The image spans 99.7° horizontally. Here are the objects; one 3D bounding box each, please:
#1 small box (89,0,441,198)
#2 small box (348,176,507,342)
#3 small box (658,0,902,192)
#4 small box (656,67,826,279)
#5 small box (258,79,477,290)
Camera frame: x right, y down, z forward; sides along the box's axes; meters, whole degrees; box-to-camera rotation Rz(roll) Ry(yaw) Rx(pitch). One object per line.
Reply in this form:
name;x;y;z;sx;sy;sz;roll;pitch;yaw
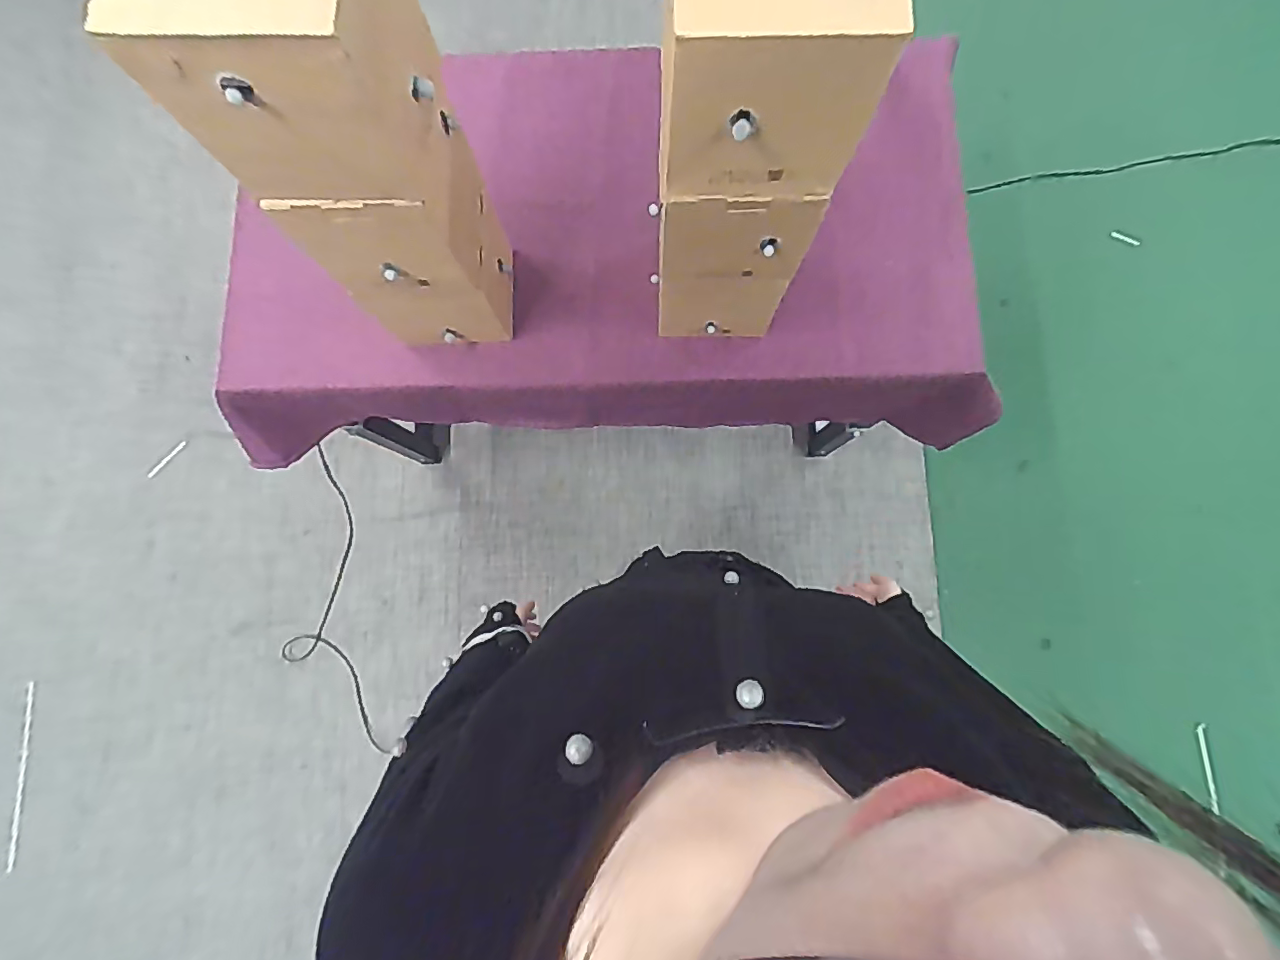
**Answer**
small box;-0.294;-0.370;0.466;0.179;0.176;0.168;1;81;0
small box;-0.296;-0.313;0.791;0.179;0.176;0.168;-3;81;0
small box;0.101;-0.375;0.466;0.168;0.176;0.179;-1;81;0
small box;0.104;-0.350;0.626;0.168;0.176;0.179;-1;81;0
small box;-0.297;-0.343;0.628;0.168;0.176;0.179;-1;81;1
